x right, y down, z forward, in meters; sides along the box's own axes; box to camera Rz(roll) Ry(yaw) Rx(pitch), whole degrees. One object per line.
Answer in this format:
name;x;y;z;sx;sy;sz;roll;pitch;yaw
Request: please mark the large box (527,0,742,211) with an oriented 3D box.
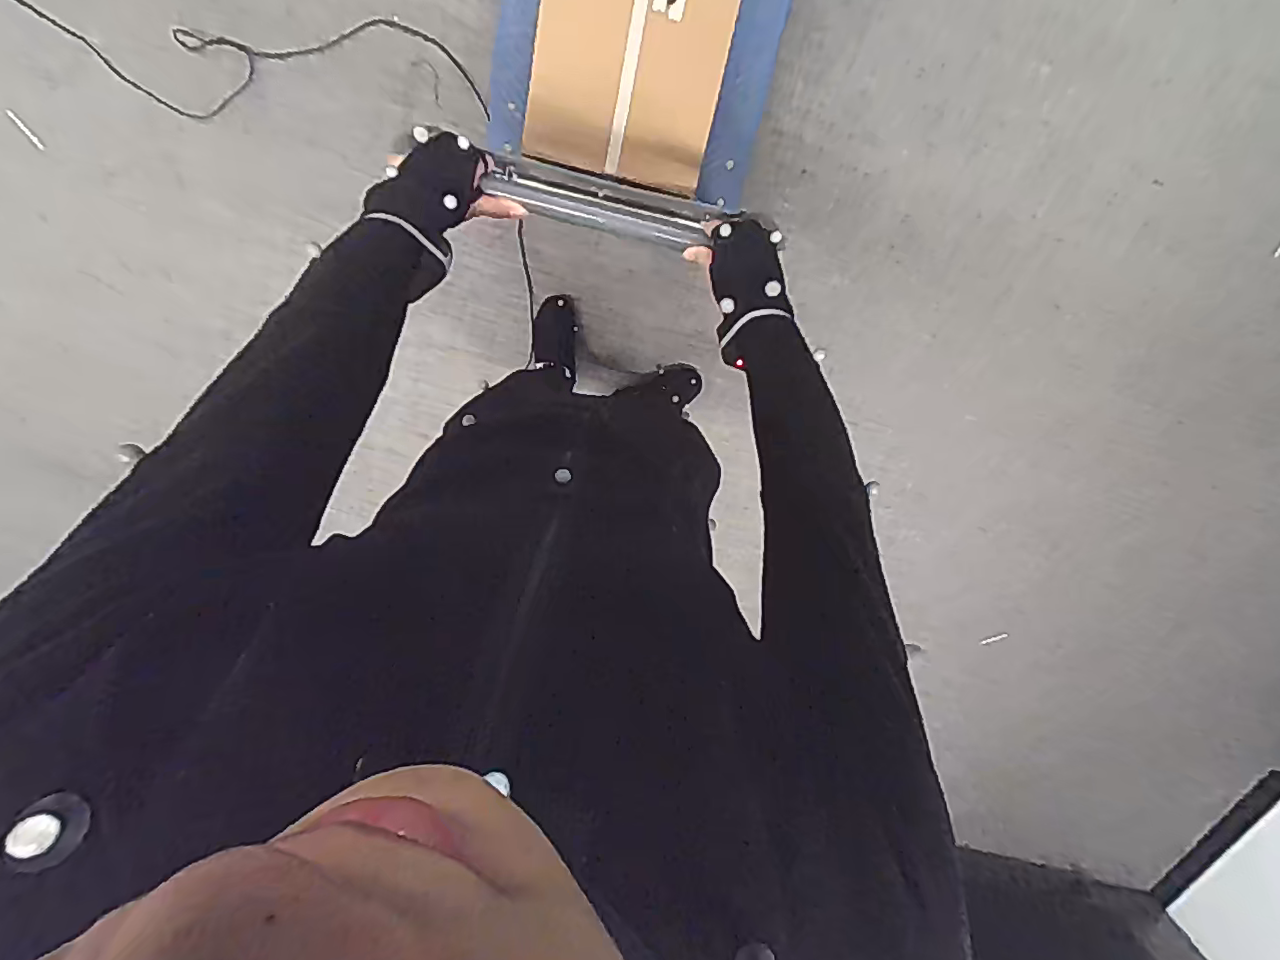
large box;-0.009;-0.769;1.020;0.320;0.320;0.408;11;111;-6
